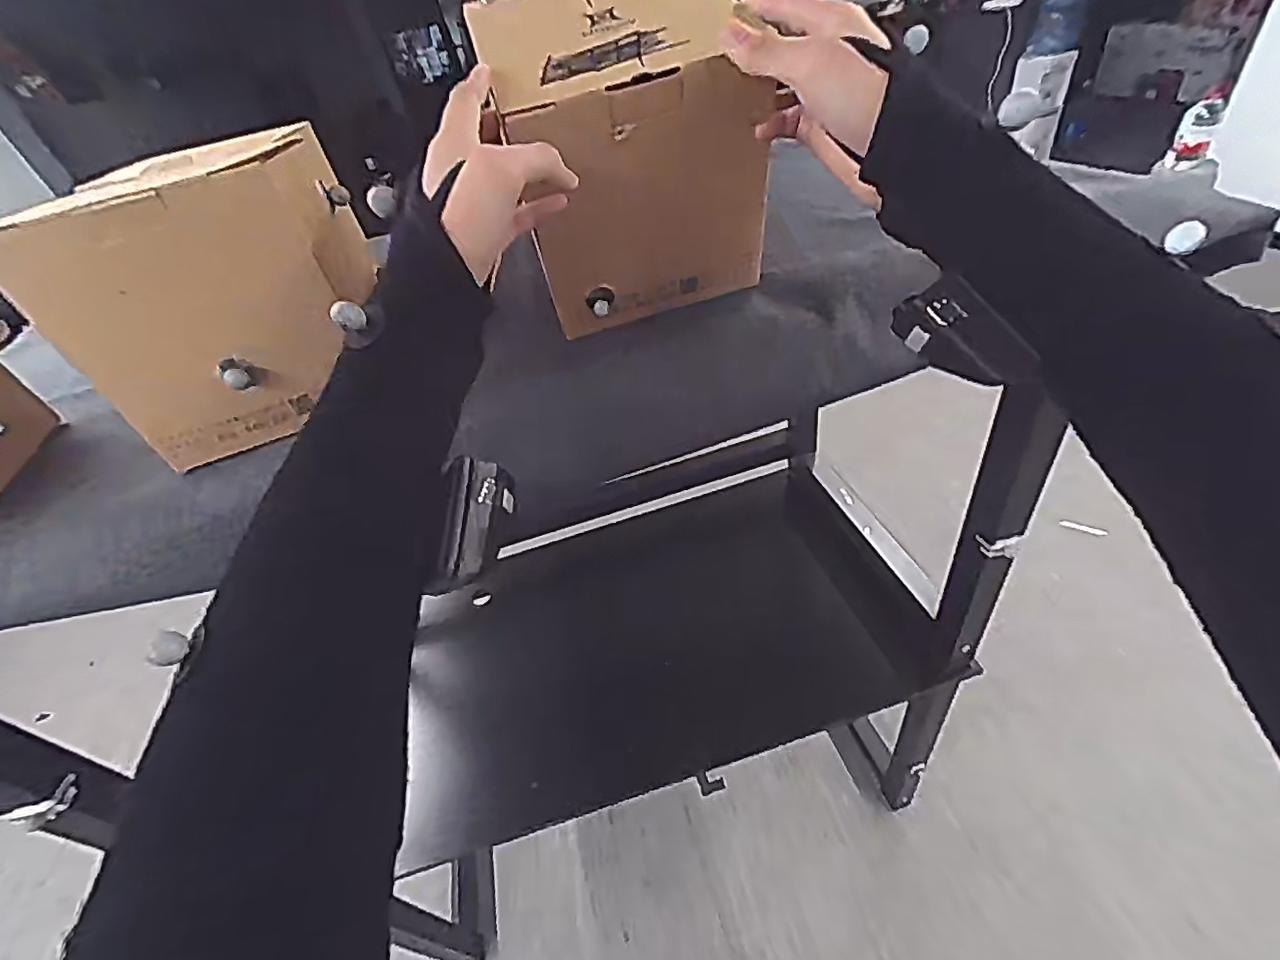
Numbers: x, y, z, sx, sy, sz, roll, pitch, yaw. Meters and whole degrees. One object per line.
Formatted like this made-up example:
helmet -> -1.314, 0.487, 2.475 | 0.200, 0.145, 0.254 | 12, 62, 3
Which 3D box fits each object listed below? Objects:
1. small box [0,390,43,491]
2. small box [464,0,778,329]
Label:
small box -> -0.598, -0.025, 0.374 | 0.168, 0.176, 0.179 | -23, 42, -9
small box -> -0.013, -0.237, 0.406 | 0.168, 0.176, 0.179 | -18, 57, -4
